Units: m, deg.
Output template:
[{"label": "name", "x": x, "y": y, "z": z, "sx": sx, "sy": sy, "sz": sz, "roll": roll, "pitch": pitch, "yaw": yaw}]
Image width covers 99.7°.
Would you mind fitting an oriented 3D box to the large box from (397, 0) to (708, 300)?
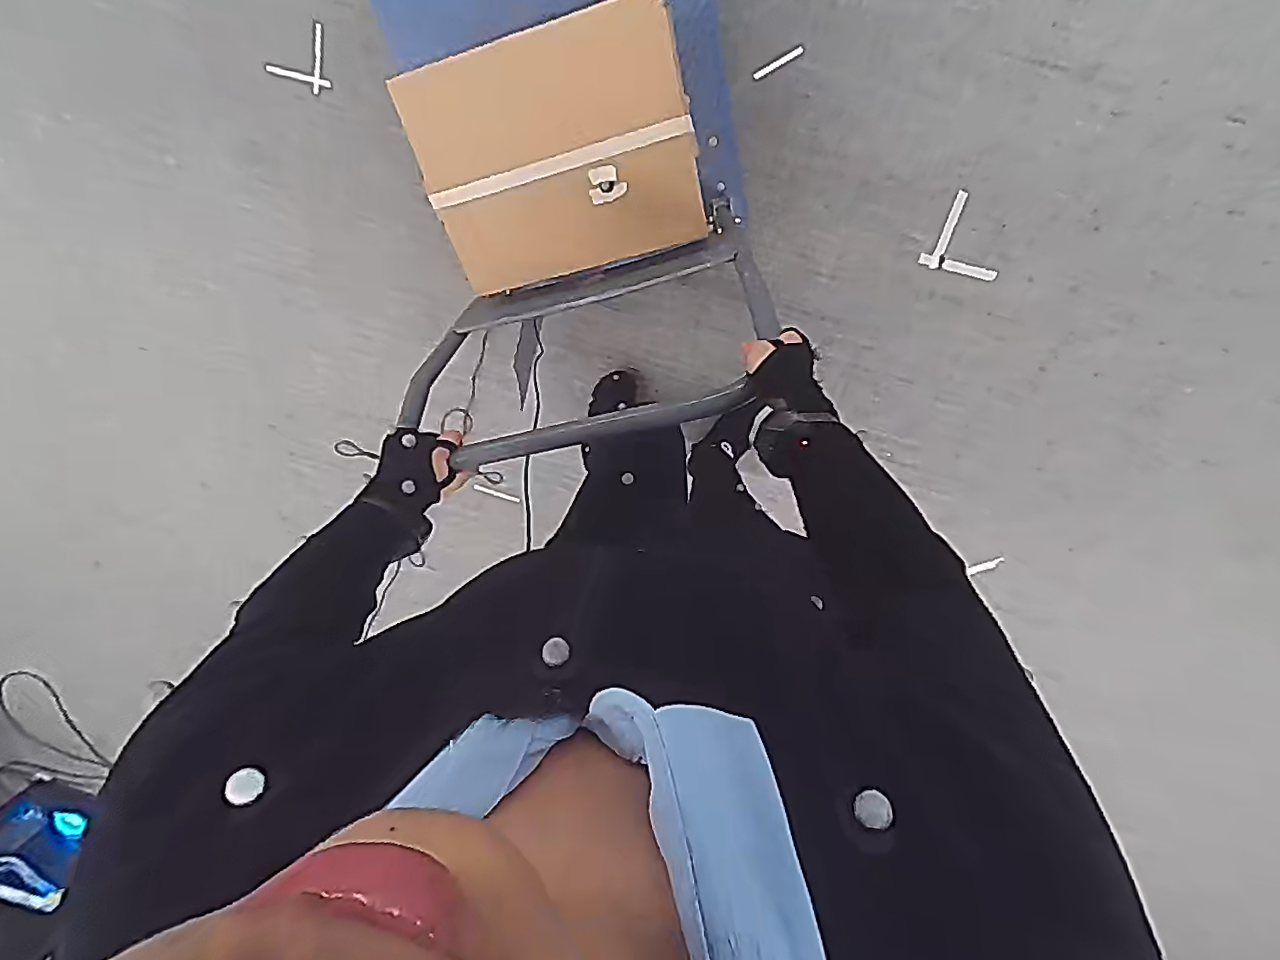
[{"label": "large box", "x": -0.117, "y": -0.552, "z": 0.938, "sx": 0.408, "sy": 0.320, "sz": 0.320, "roll": -11, "pitch": 124, "yaw": 10}]
